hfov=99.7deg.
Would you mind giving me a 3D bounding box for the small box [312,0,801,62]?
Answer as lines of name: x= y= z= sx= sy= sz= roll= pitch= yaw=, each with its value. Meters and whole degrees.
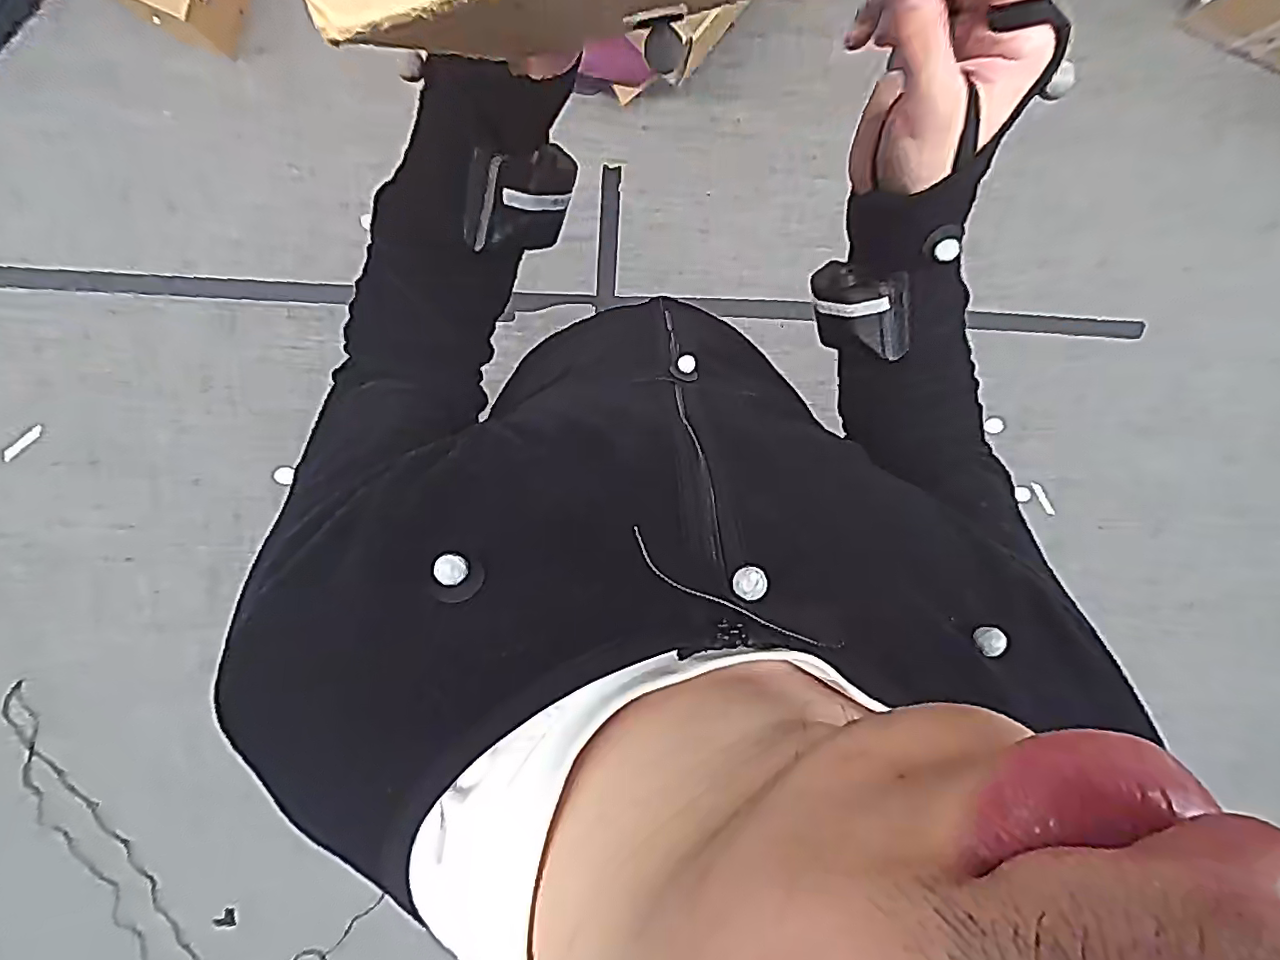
small box: x=-0.007 y=-0.234 z=0.138 sx=0.168 sy=0.176 sz=0.179 roll=-5 pitch=125 yaw=12
